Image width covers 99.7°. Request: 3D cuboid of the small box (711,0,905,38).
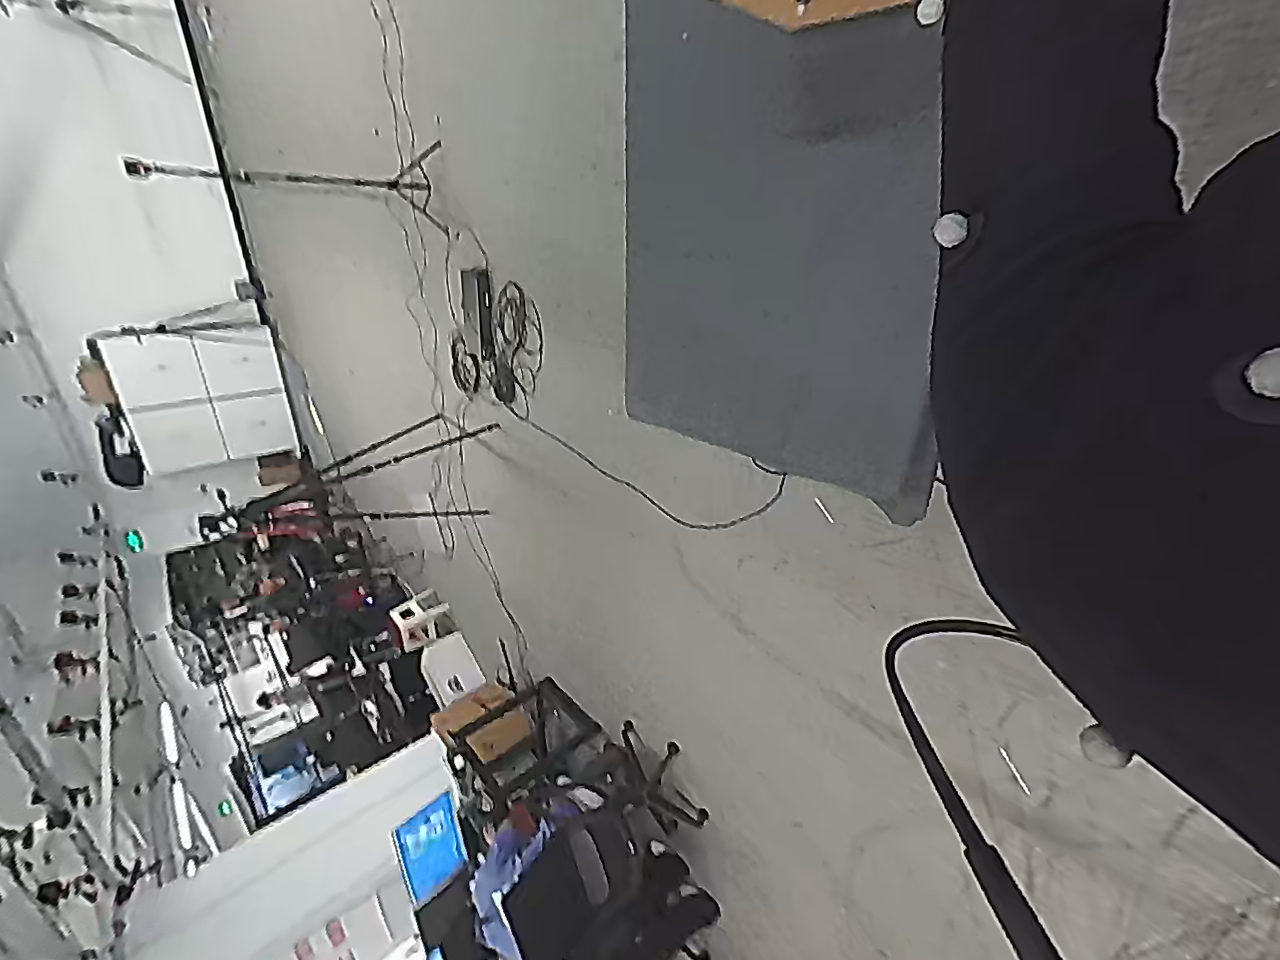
[{"bbox_3d":[0.203,-0.615,0.590,0.179,0.176,0.168,28,126,42],"label":"small box"}]
